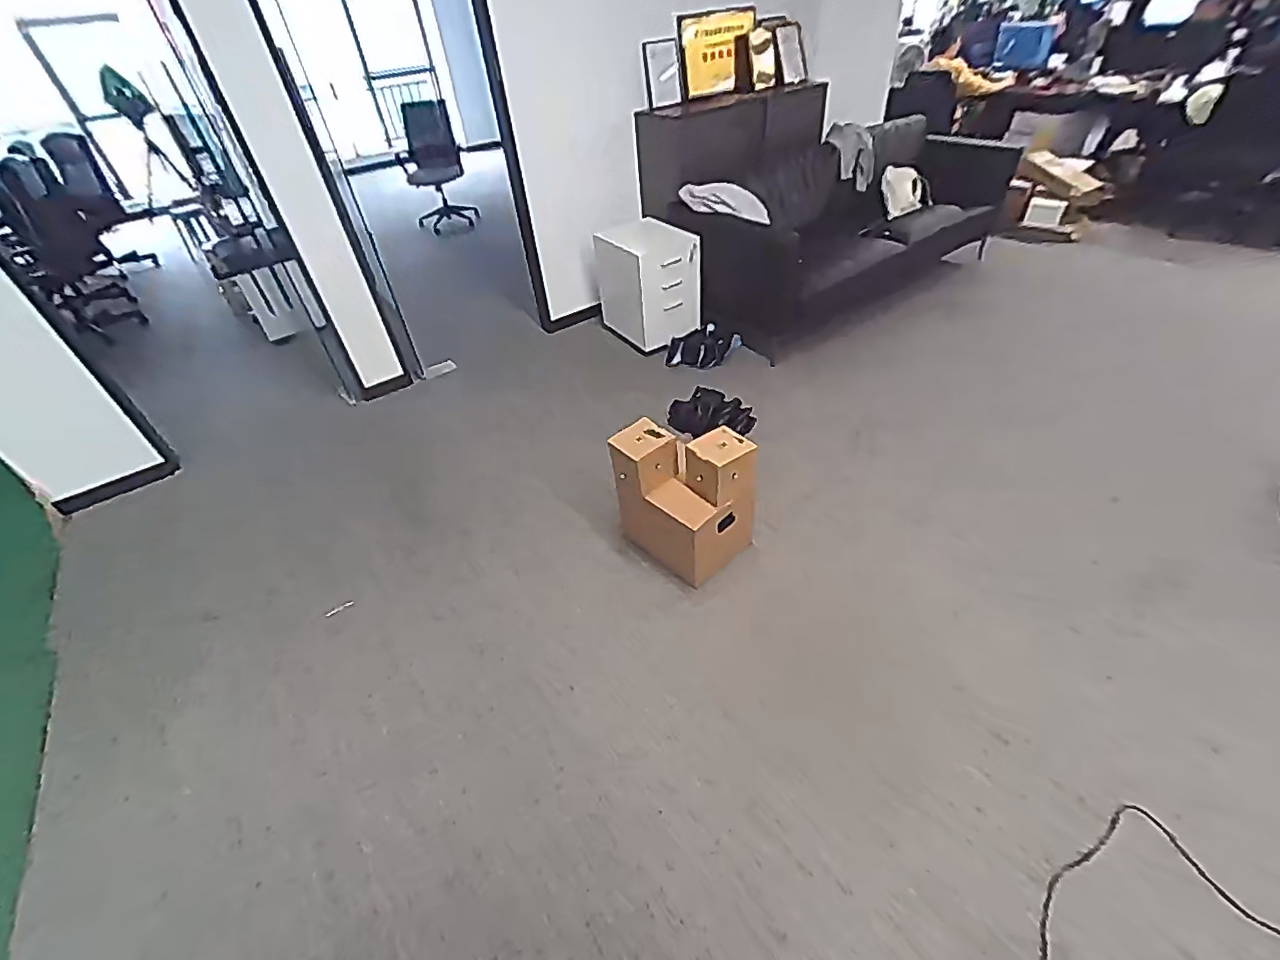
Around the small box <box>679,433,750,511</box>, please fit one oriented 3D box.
[{"bbox_3d":[0.251,-0.026,1.816,0.179,0.176,0.168,-27,45,-26],"label":"small box"}]

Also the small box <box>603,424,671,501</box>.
[{"bbox_3d":[-0.006,-0.060,1.883,0.179,0.176,0.168,-32,47,-24],"label":"small box"}]
